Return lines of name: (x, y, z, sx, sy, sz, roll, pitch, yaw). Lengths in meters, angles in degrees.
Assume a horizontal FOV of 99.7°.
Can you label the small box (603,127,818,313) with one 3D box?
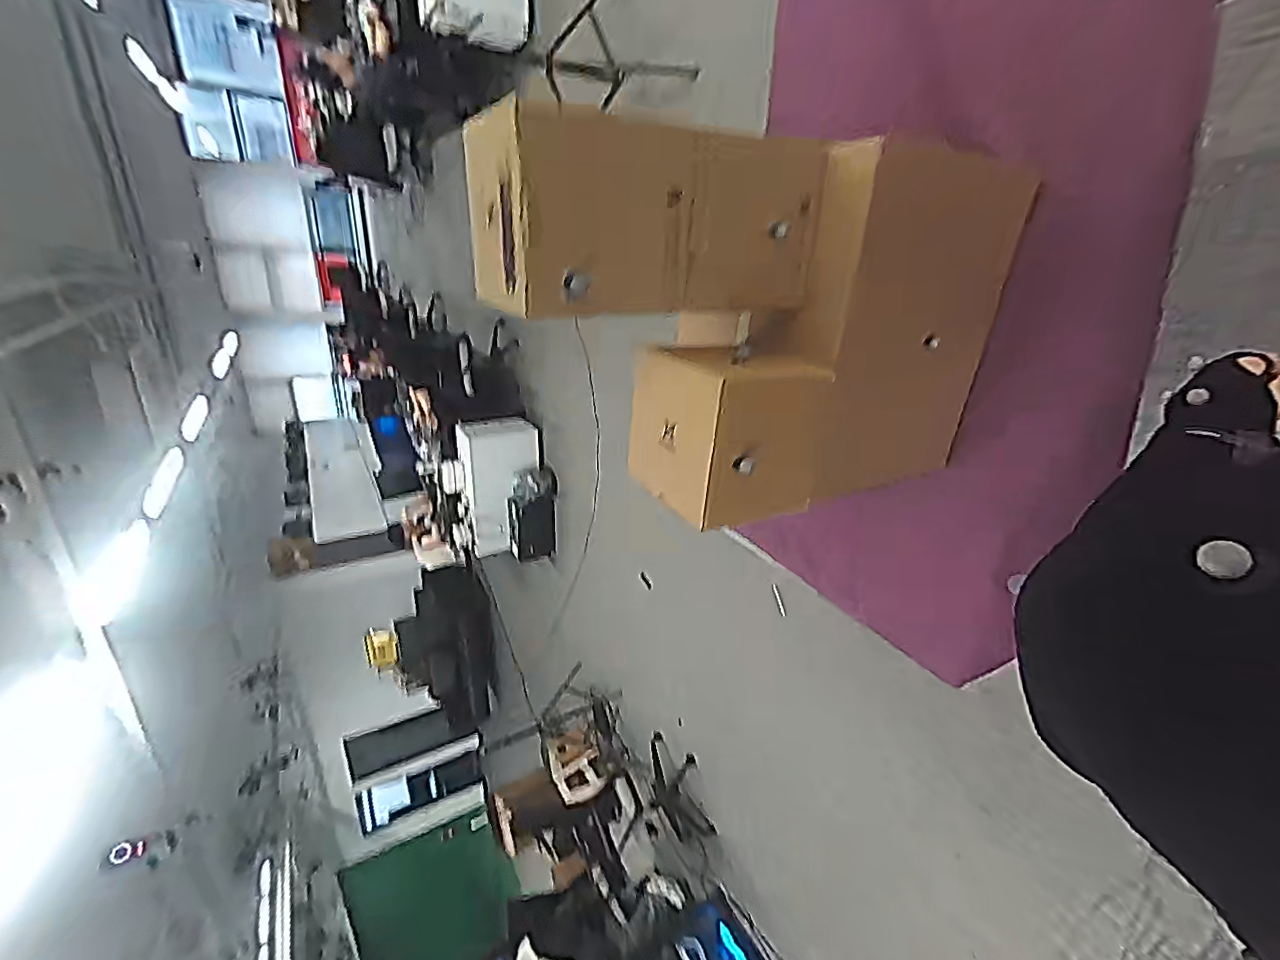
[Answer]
small box: (0.070, -0.289, 0.619, 0.179, 0.176, 0.168, 37, 132, 51)
